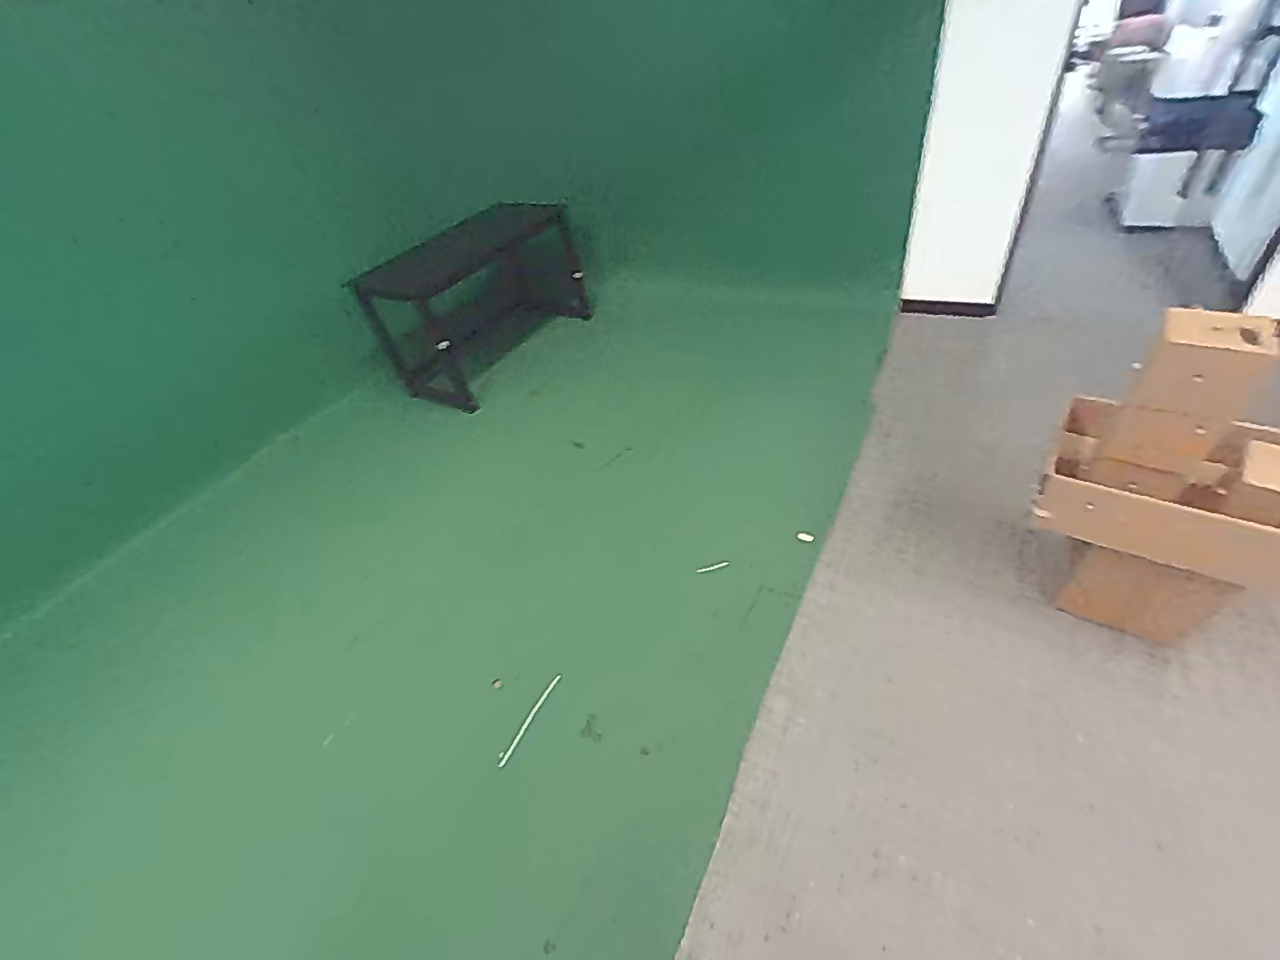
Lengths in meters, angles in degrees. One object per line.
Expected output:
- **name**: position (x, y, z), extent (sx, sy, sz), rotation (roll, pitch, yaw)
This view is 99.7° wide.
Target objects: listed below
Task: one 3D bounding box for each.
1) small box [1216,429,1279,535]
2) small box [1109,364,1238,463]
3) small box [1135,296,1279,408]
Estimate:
- **small box**: position (1.525, 0.013, 1.281), extent (0.168, 0.176, 0.179), rotation (25, 56, 34)
- **small box**: position (1.275, -0.165, 1.300), extent (0.179, 0.176, 0.168), rotation (22, 54, 31)
- **small box**: position (1.241, -0.279, 1.186), extent (0.179, 0.176, 0.168), rotation (19, 52, 31)
